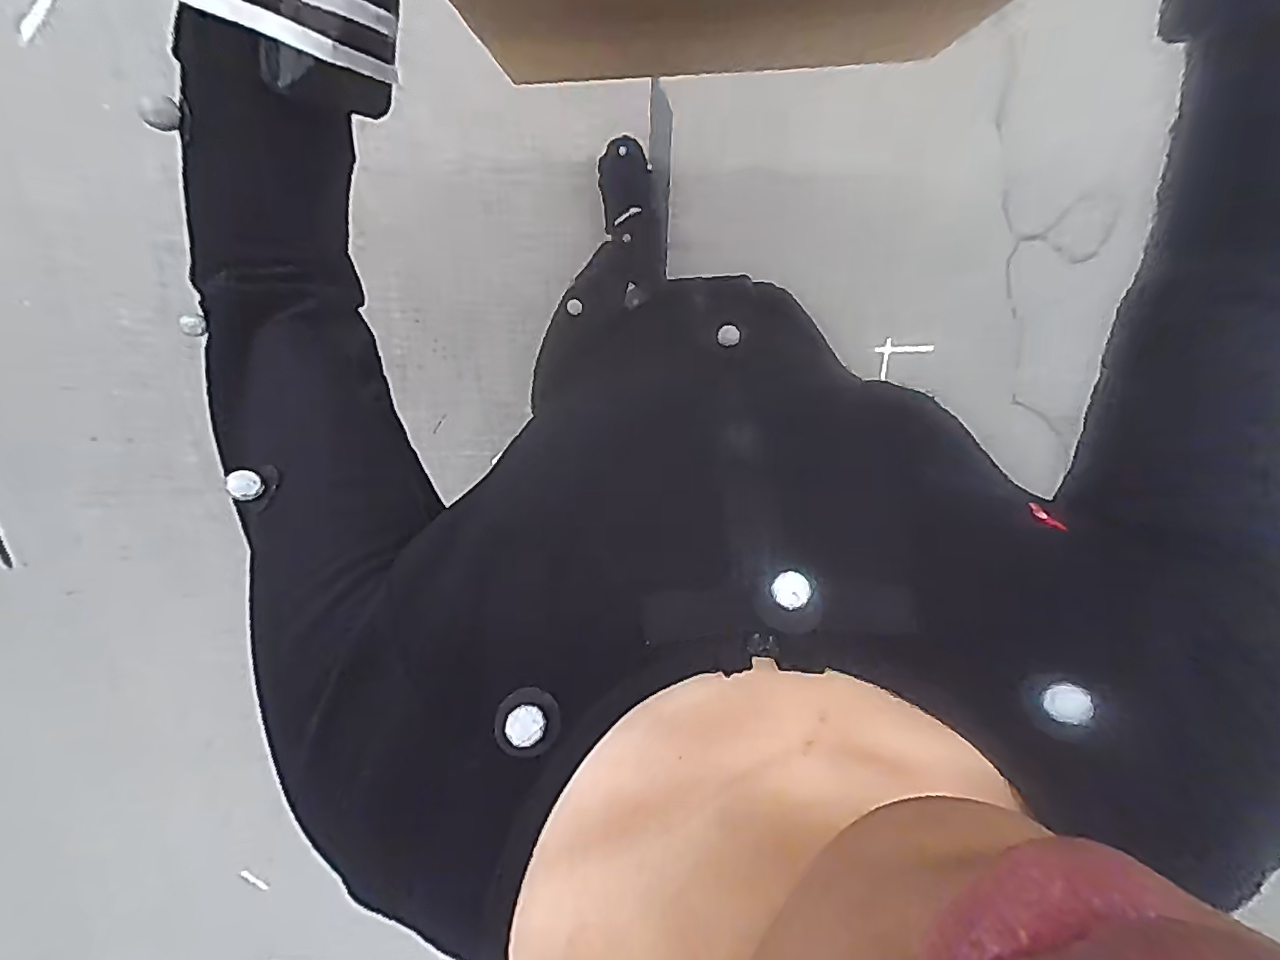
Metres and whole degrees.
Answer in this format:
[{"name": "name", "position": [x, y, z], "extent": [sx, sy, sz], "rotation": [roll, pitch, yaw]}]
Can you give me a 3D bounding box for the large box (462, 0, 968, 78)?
[{"name": "large box", "position": [0.060, -0.488, 0.327], "extent": [0.408, 0.320, 0.320], "rotation": [-3, 113, 2]}]
